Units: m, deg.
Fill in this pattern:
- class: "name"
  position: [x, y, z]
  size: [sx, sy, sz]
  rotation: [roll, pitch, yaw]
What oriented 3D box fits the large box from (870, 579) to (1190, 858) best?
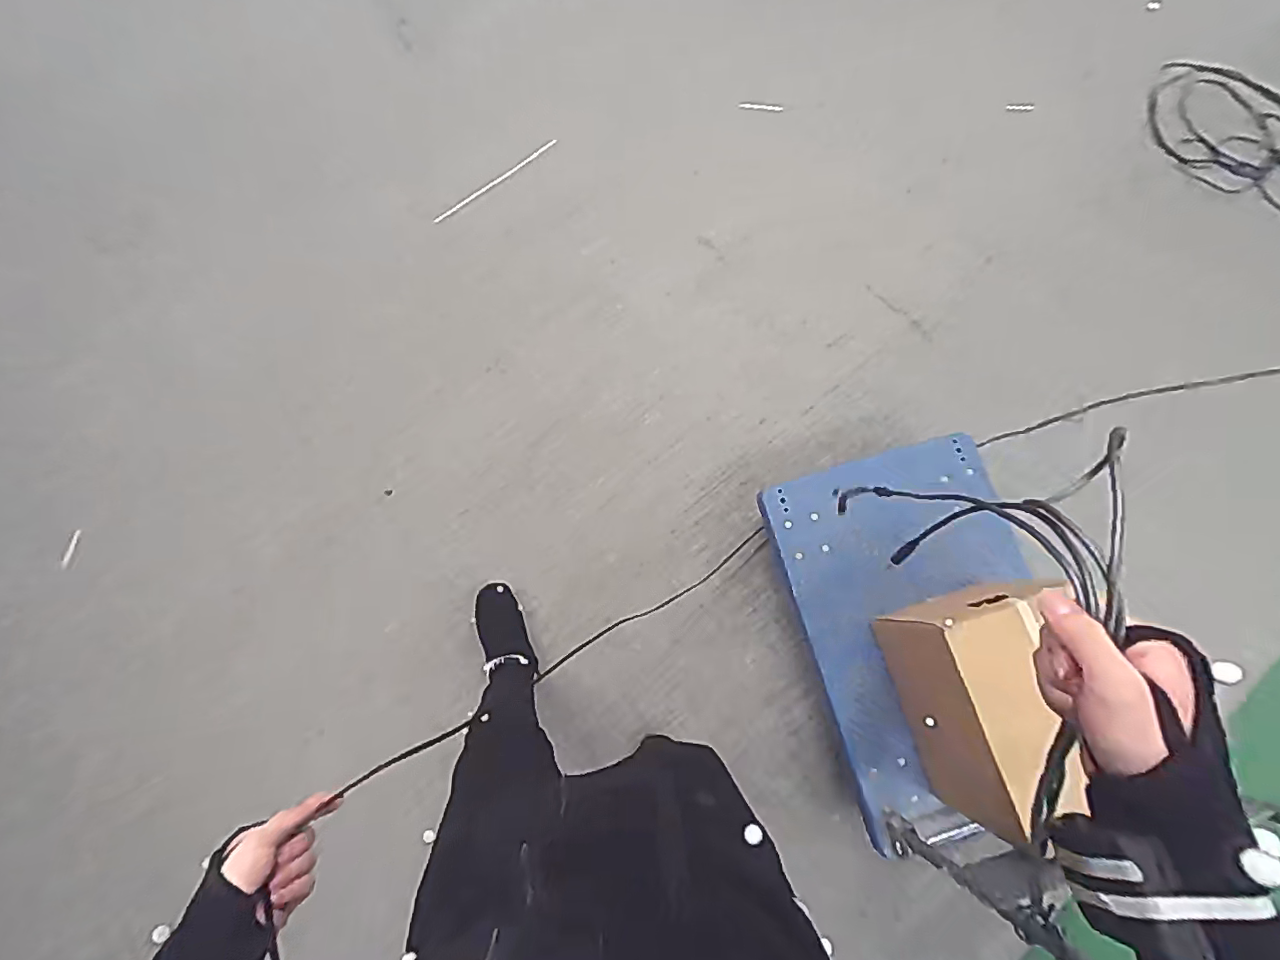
- class: "large box"
  position: [0.741, 0.443, 1.100]
  size: [0.320, 0.320, 0.408]
  rotation: [-16, 78, -5]
